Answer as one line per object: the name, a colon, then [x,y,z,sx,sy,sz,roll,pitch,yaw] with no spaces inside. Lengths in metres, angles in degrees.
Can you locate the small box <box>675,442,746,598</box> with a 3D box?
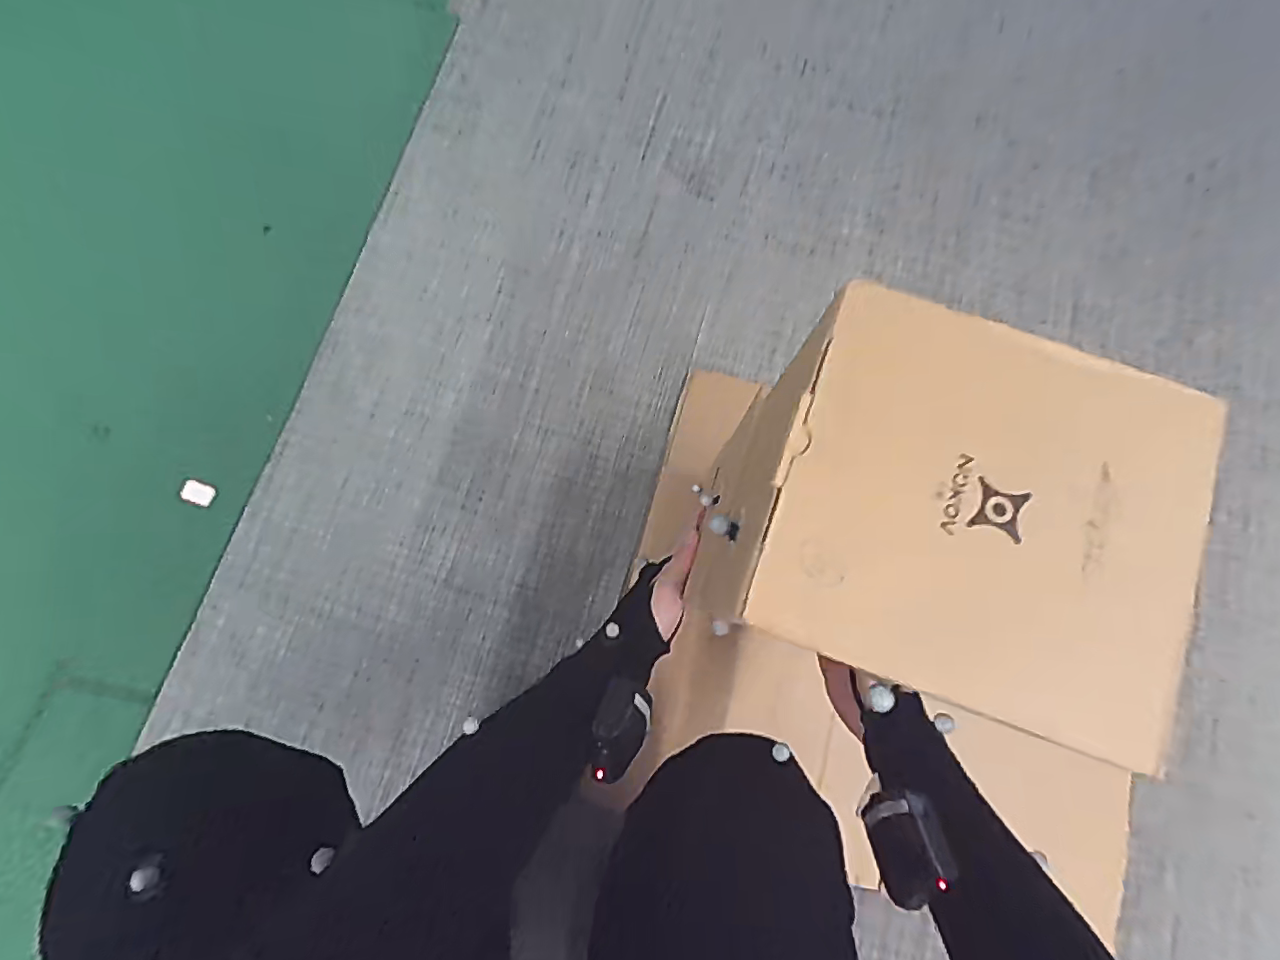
small box: [0.146,0.076,0.631,0.179,0.176,0.168,18,79,4]

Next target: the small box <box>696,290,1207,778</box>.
small box: [0.141,0.029,0.308,0.179,0.176,0.168,20,80,4]
